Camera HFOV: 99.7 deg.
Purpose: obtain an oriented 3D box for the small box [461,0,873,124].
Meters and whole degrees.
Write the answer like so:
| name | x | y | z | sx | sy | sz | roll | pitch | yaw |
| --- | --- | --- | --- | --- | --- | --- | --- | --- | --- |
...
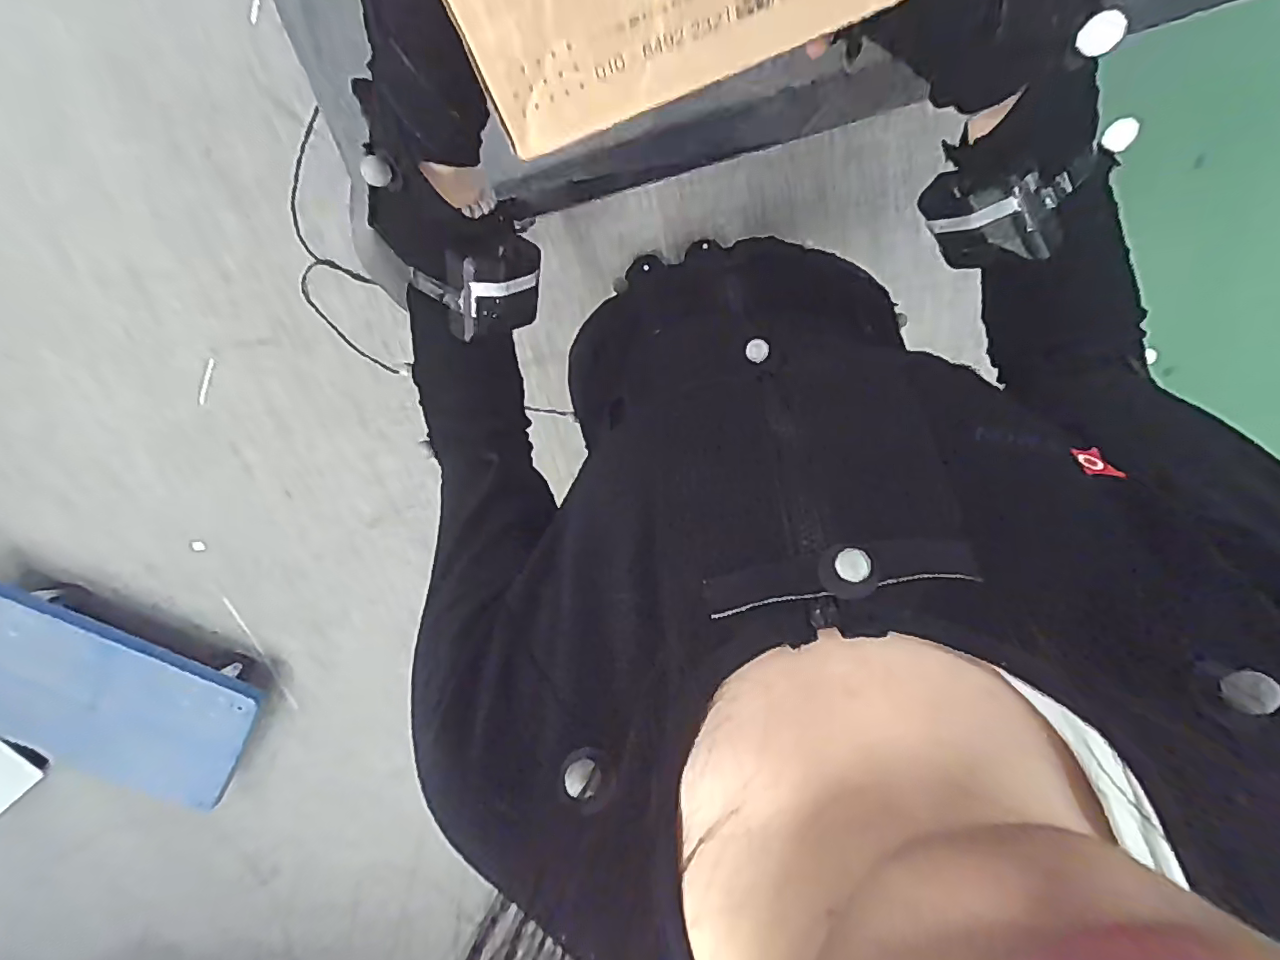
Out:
| name | x | y | z | sx | sy | sz | roll | pitch | yaw |
| --- | --- | --- | --- | --- | --- | --- | --- | --- | --- |
| small box | -0.010 | -0.274 | 0.197 | 0.168 | 0.179 | 0.176 | -18 | 147 | 7 |
